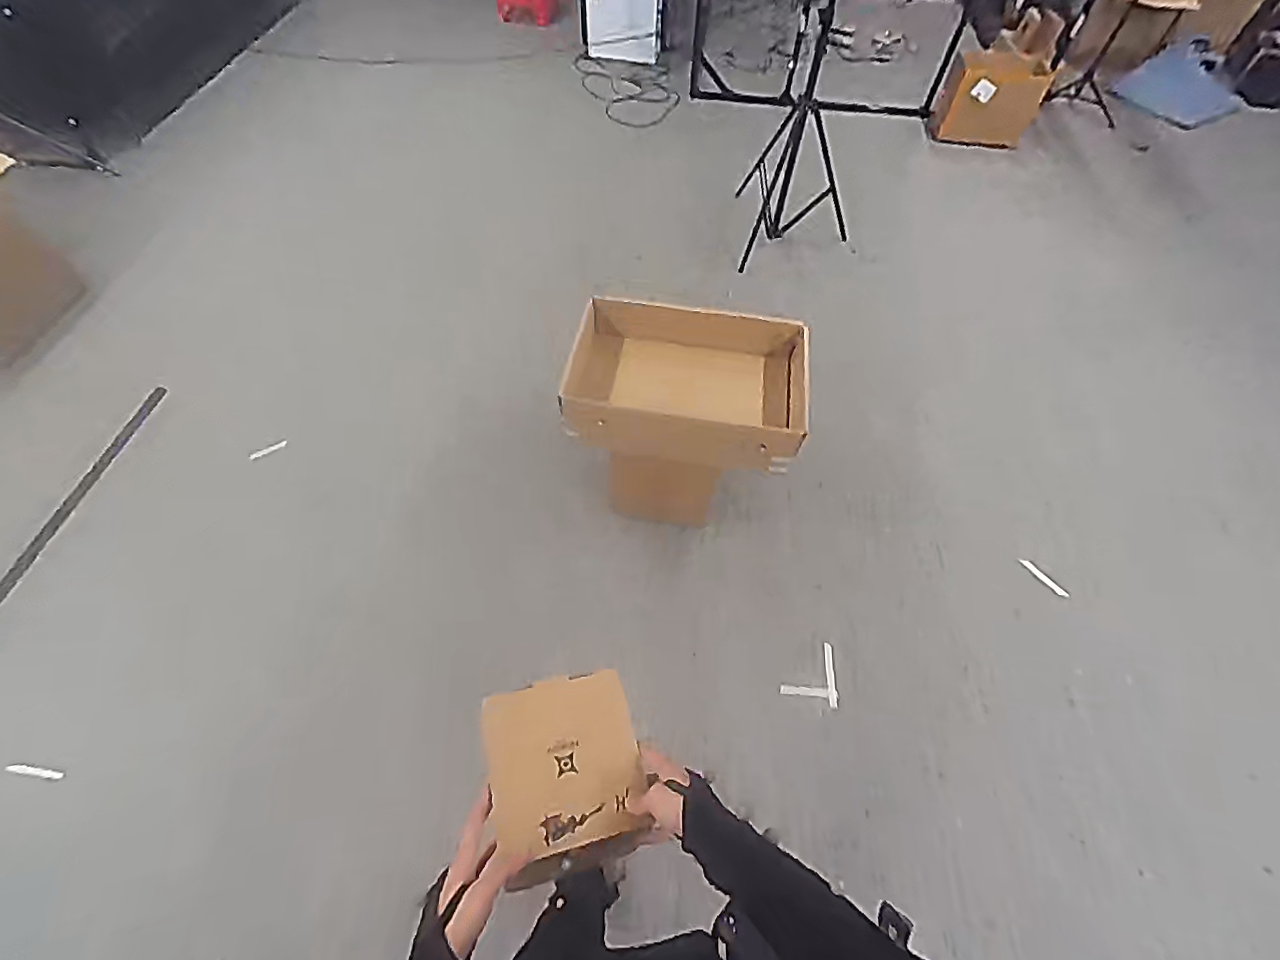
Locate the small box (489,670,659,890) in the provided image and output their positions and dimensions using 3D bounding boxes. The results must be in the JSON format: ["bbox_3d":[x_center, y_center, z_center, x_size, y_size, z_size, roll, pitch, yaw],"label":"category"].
[{"bbox_3d":[-0.091,0.362,0.657,0.168,0.176,0.179,-6,49,-17],"label":"small box"}]
